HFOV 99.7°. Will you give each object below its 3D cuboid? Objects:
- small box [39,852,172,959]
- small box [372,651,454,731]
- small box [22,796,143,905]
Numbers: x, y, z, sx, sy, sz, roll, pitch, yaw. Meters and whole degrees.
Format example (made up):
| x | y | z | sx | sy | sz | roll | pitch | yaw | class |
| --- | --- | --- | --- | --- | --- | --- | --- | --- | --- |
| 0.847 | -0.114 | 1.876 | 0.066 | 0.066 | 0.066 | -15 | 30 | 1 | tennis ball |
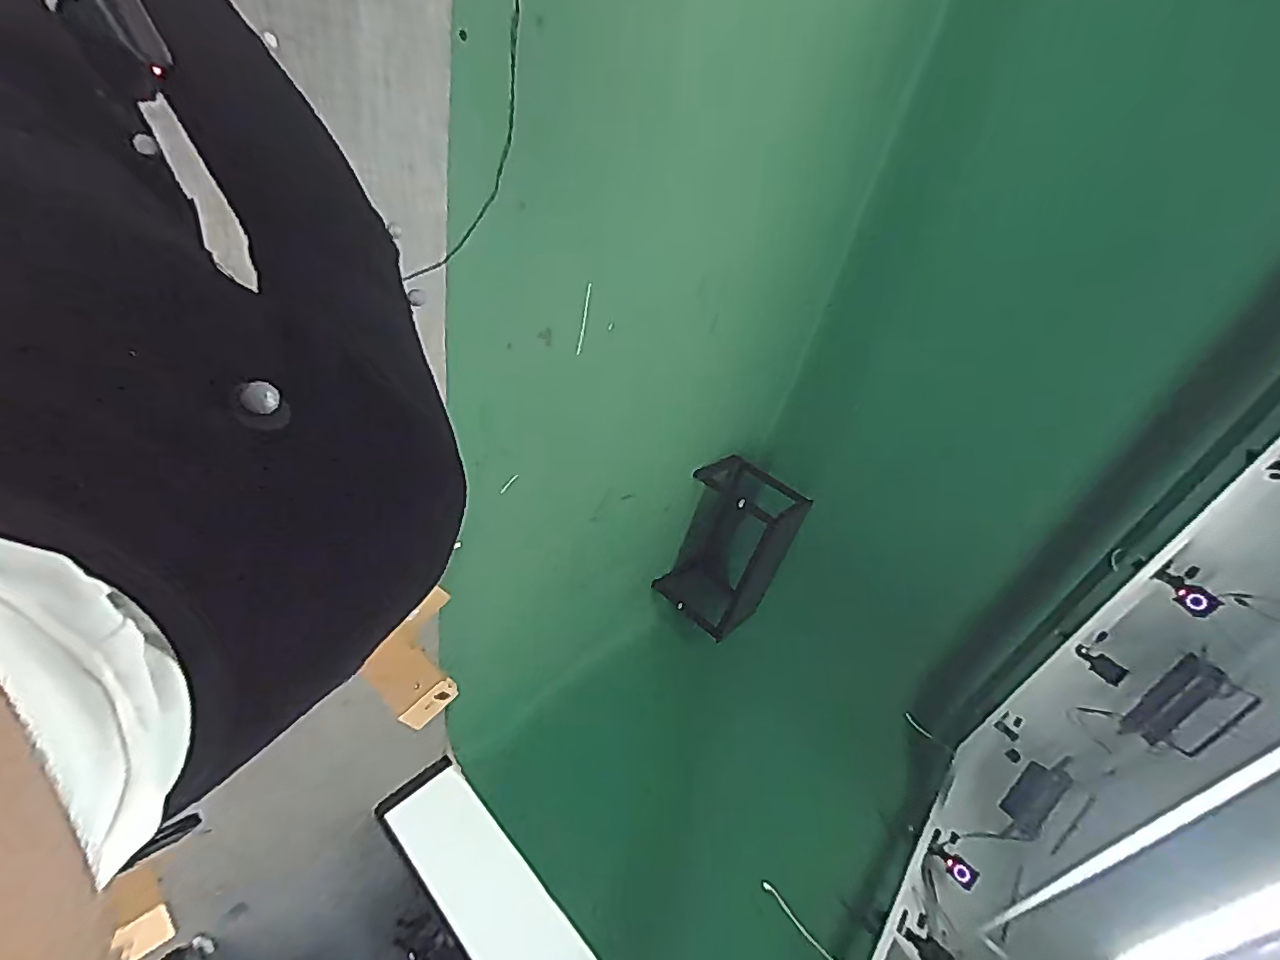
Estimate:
| x | y | z | sx | sy | sz | roll | pitch | yaw | class |
| --- | --- | --- | --- | --- | --- | --- | --- | --- | --- |
| -1.177 | 0.973 | 1.194 | 0.168 | 0.176 | 0.179 | -20 | 138 | -47 | small box |
| -0.790 | 0.729 | 1.880 | 0.179 | 0.176 | 0.168 | -41 | 150 | -23 | small box |
| -1.294 | 0.885 | 1.265 | 0.168 | 0.176 | 0.179 | -20 | 137 | -48 | small box |
